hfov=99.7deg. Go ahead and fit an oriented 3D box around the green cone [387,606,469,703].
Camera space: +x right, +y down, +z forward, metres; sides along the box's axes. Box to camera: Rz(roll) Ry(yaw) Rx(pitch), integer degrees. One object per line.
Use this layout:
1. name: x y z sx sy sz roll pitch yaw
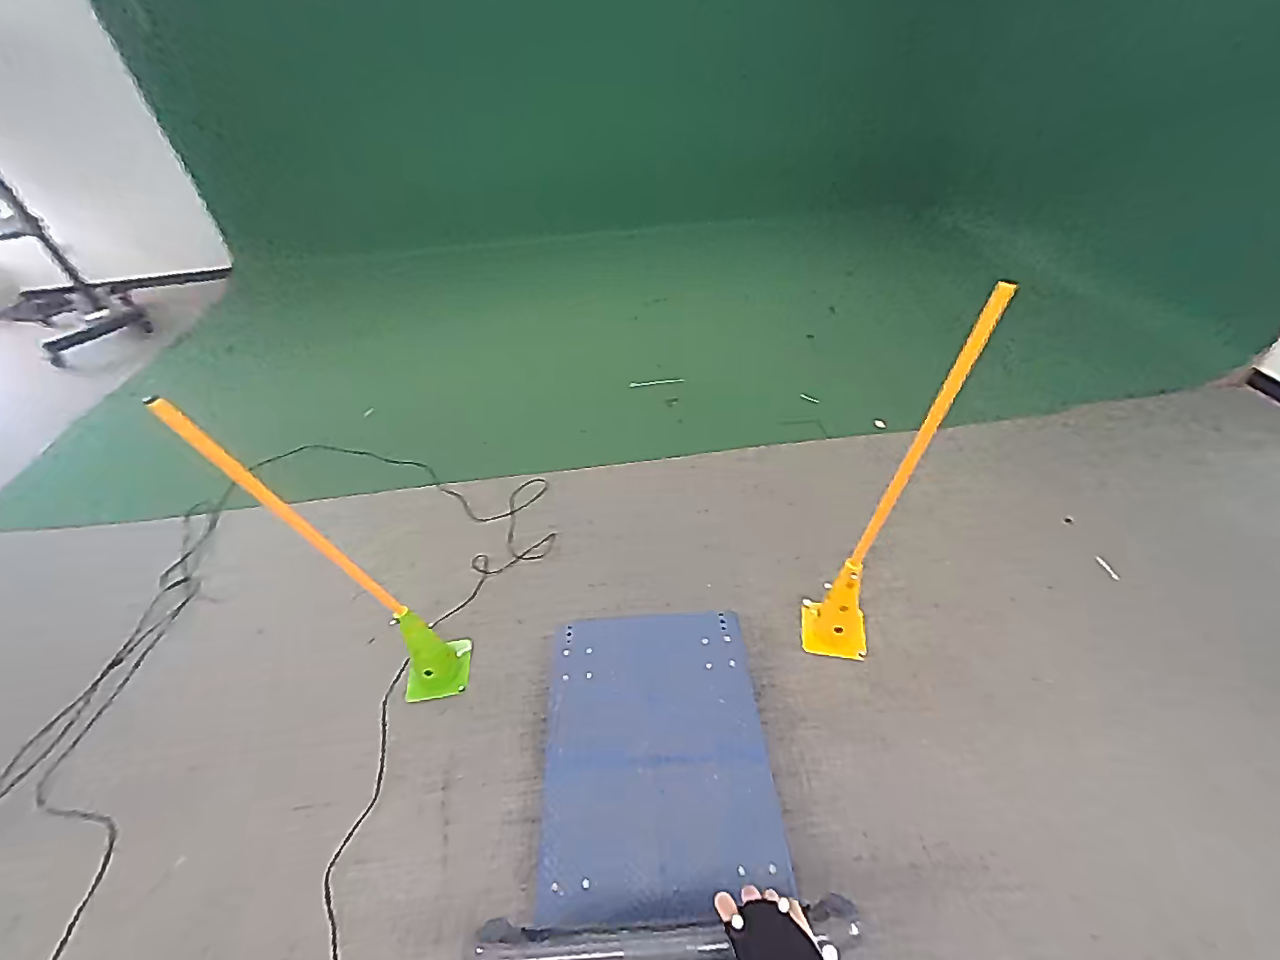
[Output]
1. green cone: -0.694 0.511 1.699 0.202 0.368 0.200 -11 42 -3
